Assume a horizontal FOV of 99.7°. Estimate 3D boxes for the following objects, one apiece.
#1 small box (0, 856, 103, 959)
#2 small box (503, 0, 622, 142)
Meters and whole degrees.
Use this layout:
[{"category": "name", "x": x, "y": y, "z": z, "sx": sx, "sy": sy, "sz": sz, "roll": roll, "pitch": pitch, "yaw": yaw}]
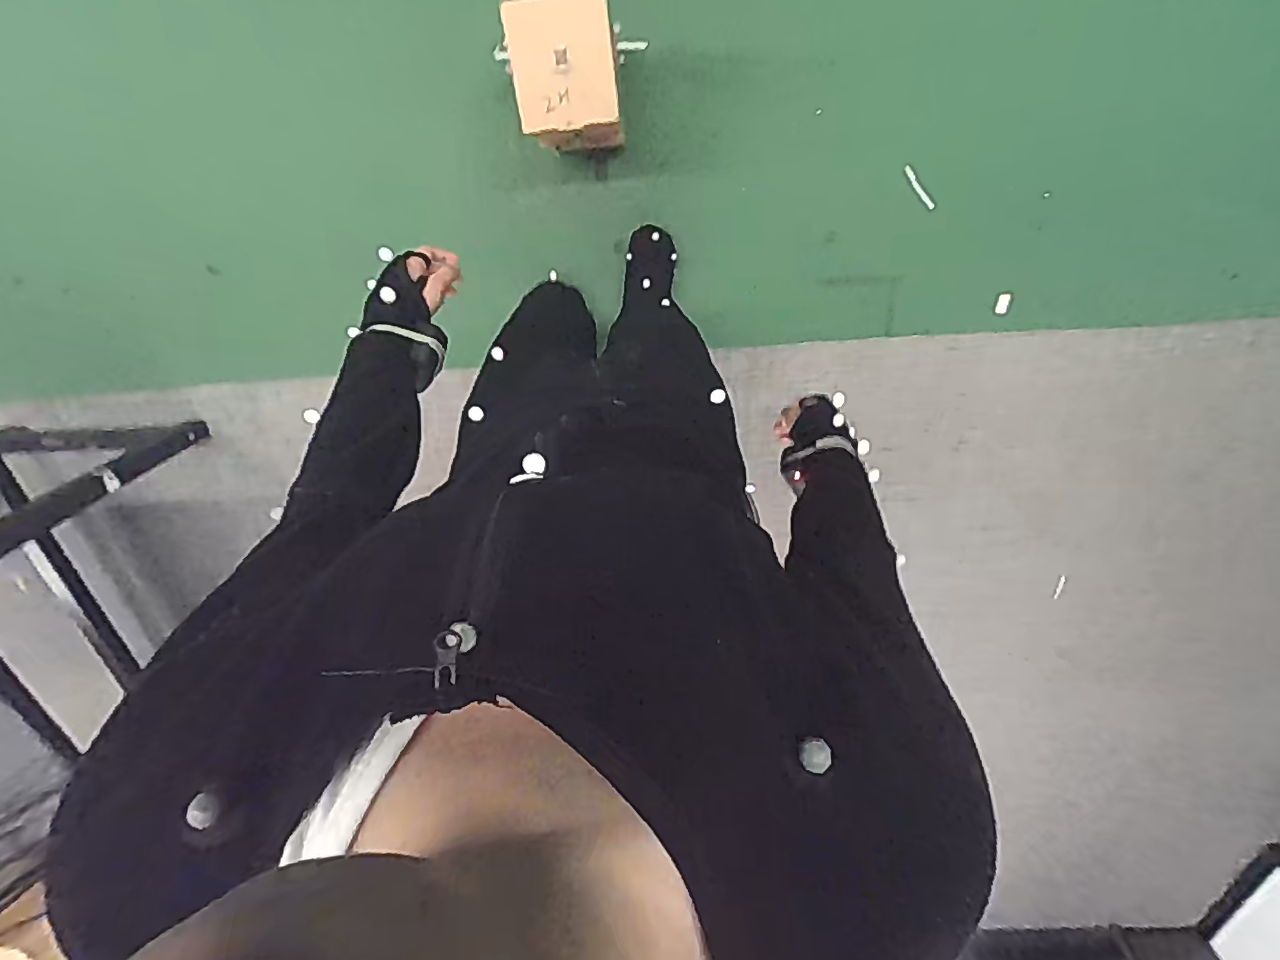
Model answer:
[{"category": "small box", "x": -1.386, "y": 0.983, "z": 1.223, "sx": 0.179, "sy": 0.176, "sz": 0.168, "roll": 3, "pitch": 119, "yaw": 0}, {"category": "small box", "x": -0.123, "y": -0.701, "z": 0.934, "sx": 0.168, "sy": 0.176, "sz": 0.179, "roll": -5, "pitch": 118, "yaw": 3}]
